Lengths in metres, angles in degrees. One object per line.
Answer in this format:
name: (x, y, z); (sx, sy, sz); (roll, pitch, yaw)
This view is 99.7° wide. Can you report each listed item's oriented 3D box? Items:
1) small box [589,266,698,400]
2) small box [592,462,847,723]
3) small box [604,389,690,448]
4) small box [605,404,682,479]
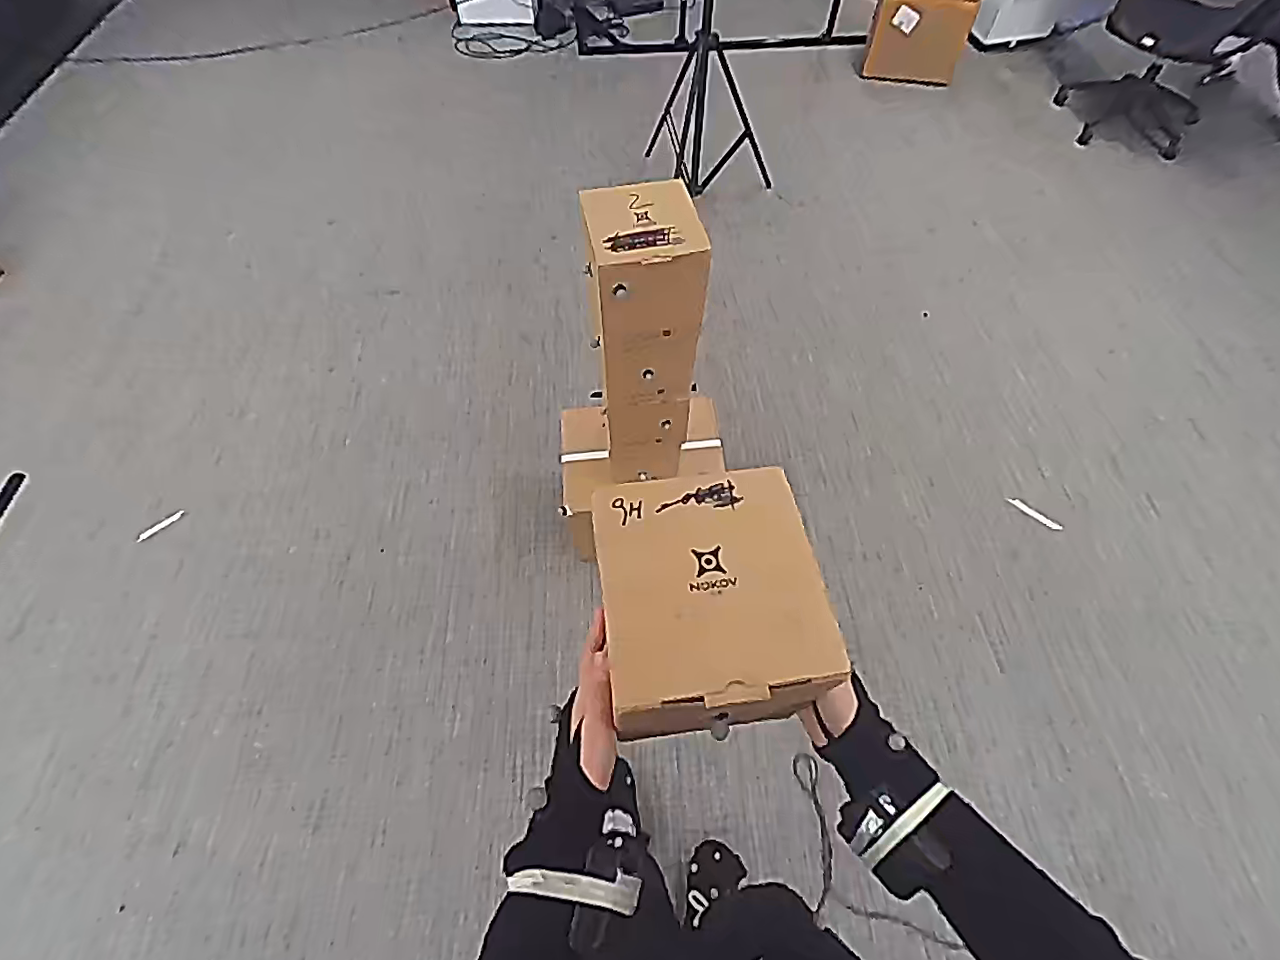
small box: (0.004, -0.264, 1.006); (0.168, 0.176, 0.179); (-10, 61, -7)
small box: (0.051, 0.107, 0.475); (0.168, 0.176, 0.179); (-6, 59, -6)
small box: (0.009, -0.180, 1.148); (0.168, 0.176, 0.179); (-6, 60, -4)
small box: (0.004, -0.104, 1.291); (0.168, 0.176, 0.179); (-6, 61, -3)
